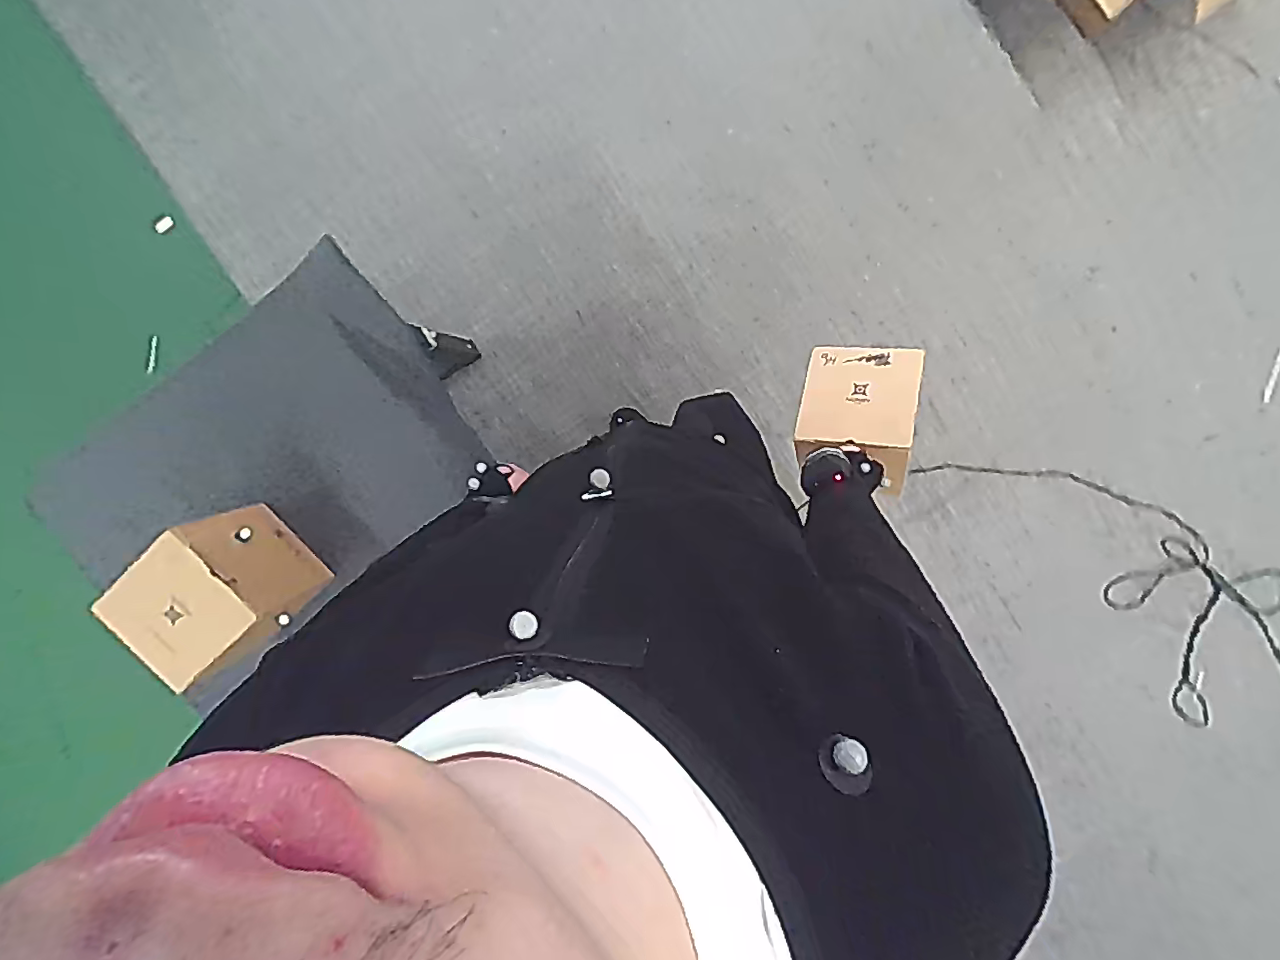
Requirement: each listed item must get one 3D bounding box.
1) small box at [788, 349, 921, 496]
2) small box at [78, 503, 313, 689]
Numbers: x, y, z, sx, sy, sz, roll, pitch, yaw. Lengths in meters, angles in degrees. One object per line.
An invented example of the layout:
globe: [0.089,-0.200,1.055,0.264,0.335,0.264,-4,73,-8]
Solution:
small box: [0.350,-0.090,0.888,0.168,0.176,0.179,10,69,24]
small box: [-0.621,0.154,0.786,0.179,0.176,0.168,-42,94,8]
